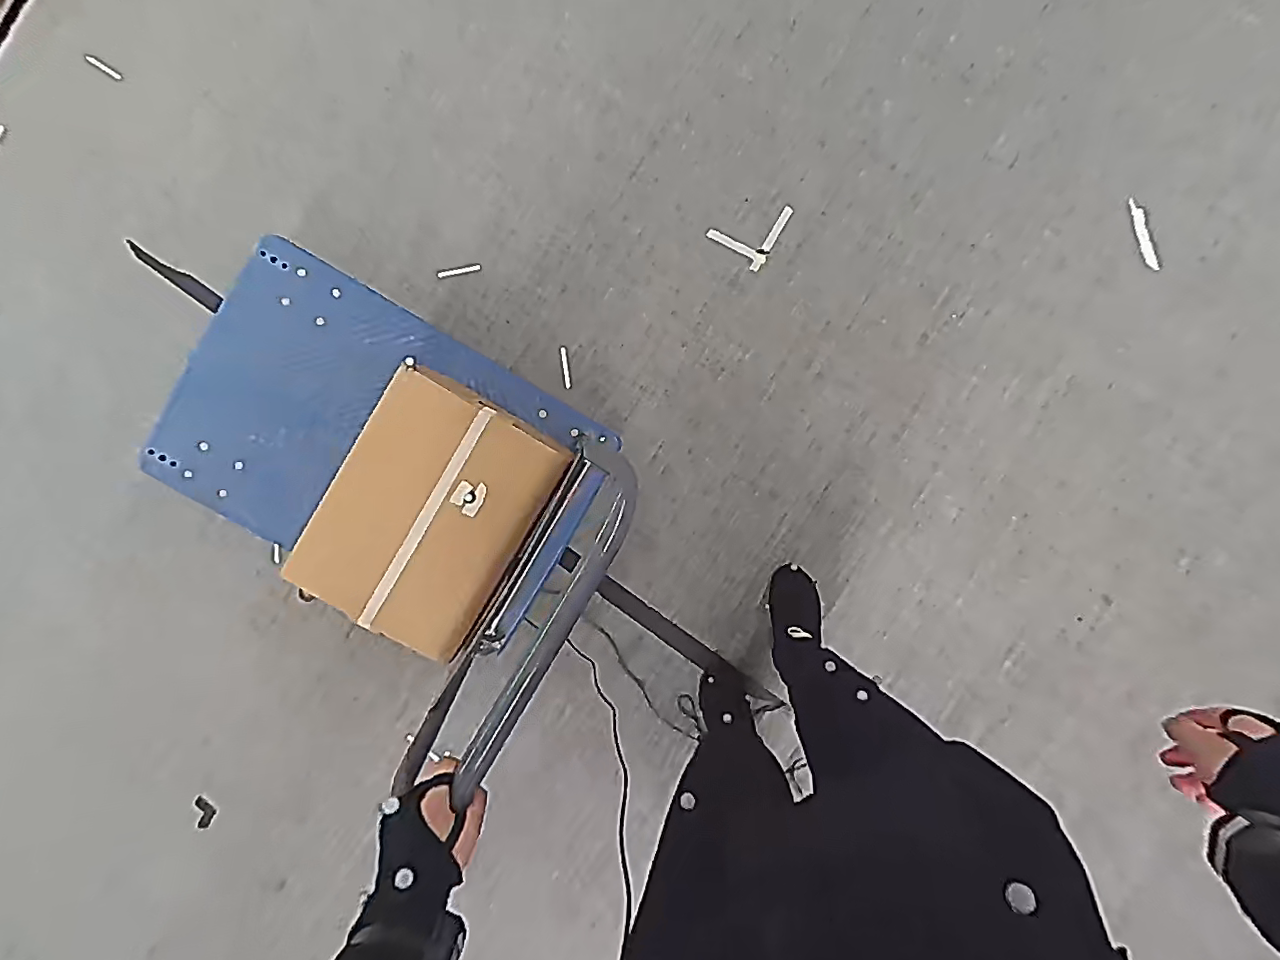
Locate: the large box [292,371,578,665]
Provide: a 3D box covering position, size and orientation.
[{"bbox_3d":[-0.354,0.062,1.039,0.320,0.320,0.408,30,90,-5],"label":"large box"}]
